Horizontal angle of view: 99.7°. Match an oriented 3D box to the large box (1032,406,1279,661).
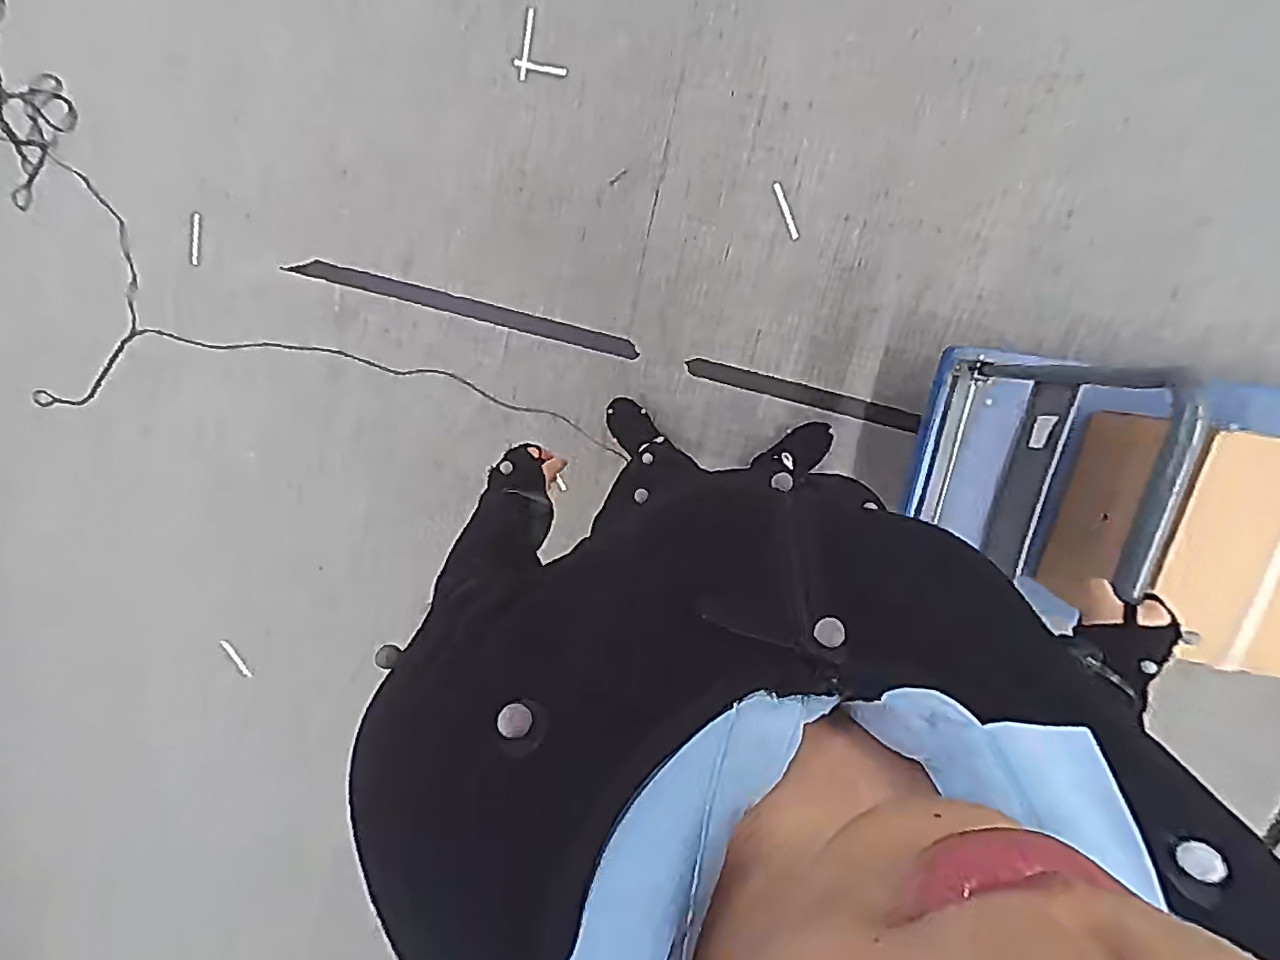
[{"bbox_3d":[1.065,0.082,1.065,0.320,0.320,0.408,10,102,5],"label":"large box"}]
